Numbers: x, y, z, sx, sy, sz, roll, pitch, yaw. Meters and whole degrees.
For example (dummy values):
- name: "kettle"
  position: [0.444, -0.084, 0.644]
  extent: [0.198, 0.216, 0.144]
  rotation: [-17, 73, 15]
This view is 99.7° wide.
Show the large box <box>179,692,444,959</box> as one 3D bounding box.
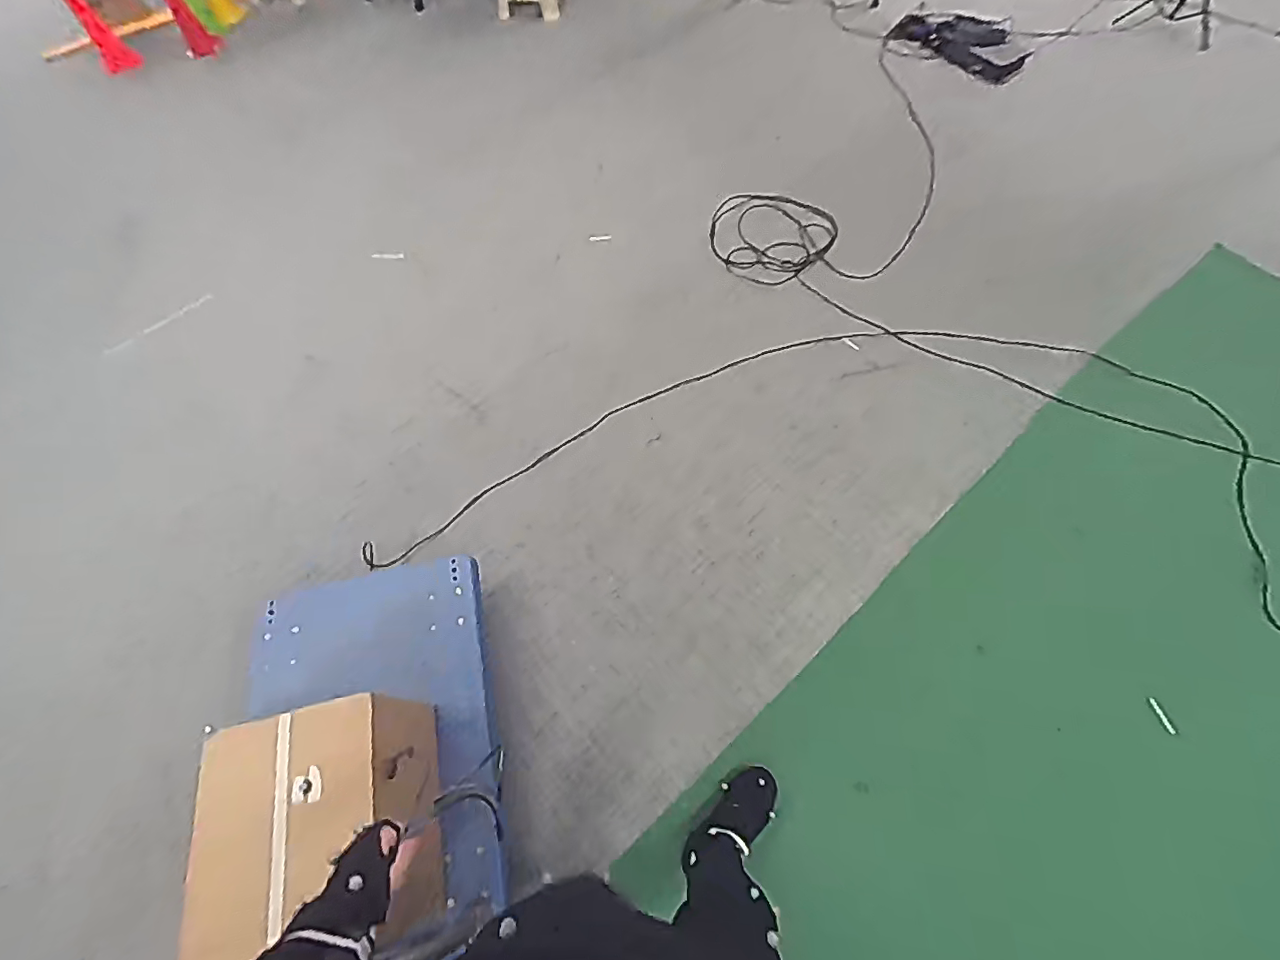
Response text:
- name: "large box"
  position: [-0.601, 0.673, 1.052]
  extent: [0.320, 0.320, 0.408]
  rotation: [-13, 63, -4]
